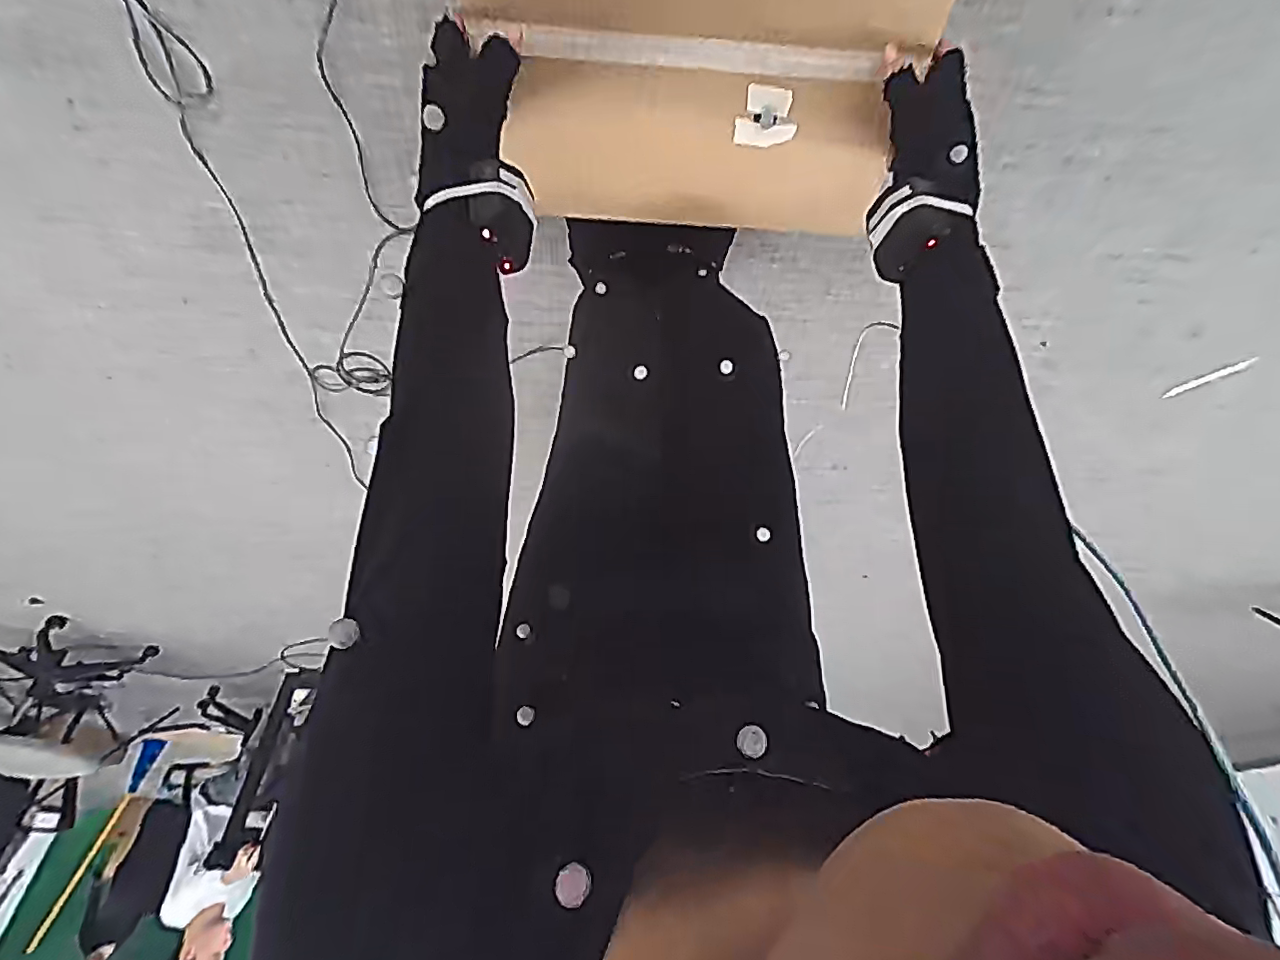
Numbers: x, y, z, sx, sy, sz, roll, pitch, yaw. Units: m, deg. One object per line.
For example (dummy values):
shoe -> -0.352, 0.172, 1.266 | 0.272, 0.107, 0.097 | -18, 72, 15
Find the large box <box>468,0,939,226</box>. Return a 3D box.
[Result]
large box -> 0.046, -0.500, 0.574 | 0.408, 0.320, 0.320 | 1, 143, -4
